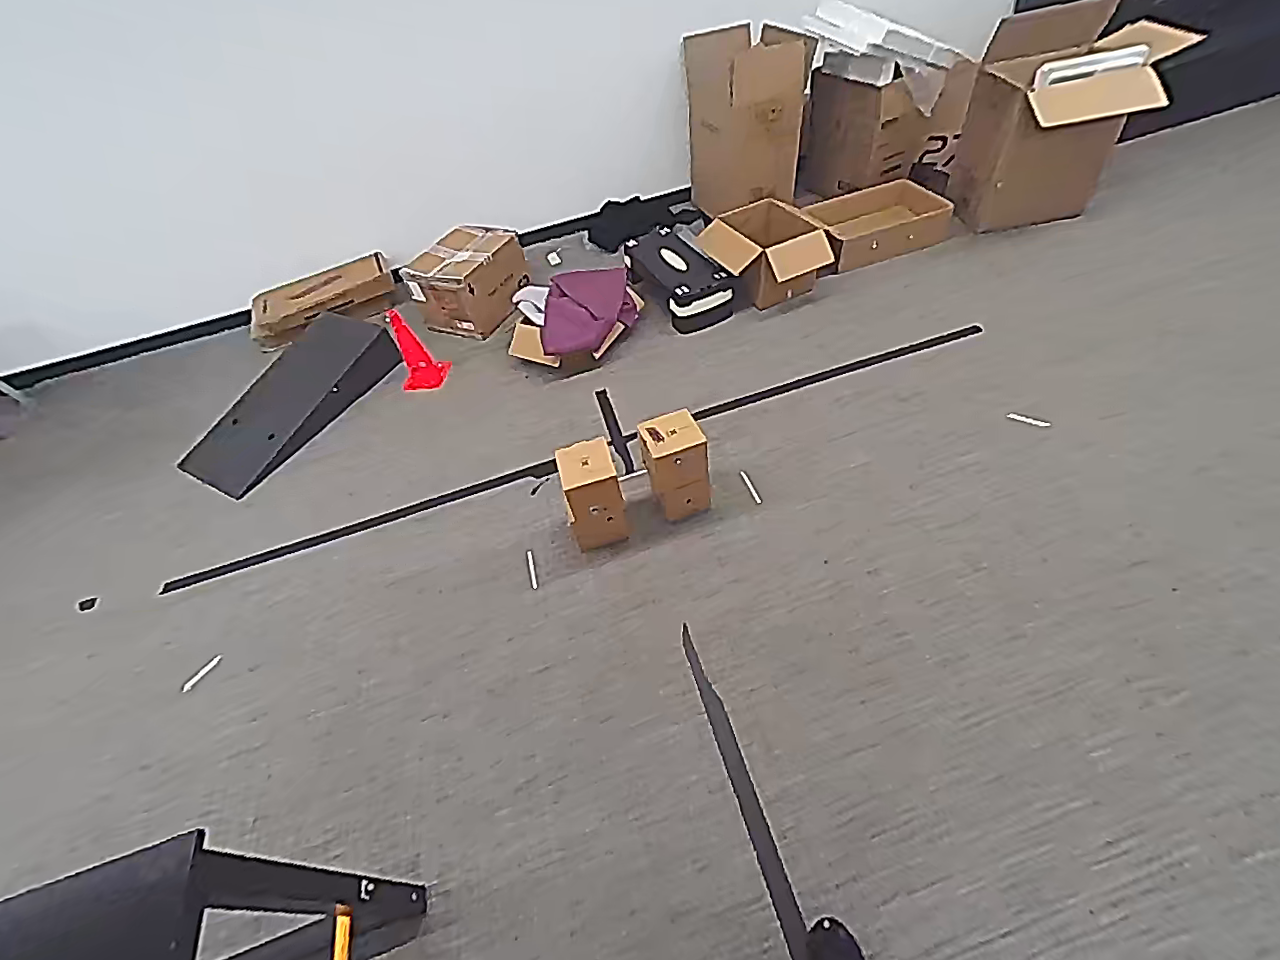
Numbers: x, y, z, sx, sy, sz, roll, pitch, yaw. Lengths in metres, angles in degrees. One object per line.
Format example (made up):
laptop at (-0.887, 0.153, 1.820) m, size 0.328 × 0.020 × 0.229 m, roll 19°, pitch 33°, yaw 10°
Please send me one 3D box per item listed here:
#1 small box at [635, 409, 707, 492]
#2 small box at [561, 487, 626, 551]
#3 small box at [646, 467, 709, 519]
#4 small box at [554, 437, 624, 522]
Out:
small box at (0.102, -0.089, 1.713) m, size 0.179 × 0.176 × 0.168 m, roll -19°, pitch 49°, yaw -7°
small box at (-0.151, 0.109, 1.806) m, size 0.179 × 0.176 × 0.168 m, roll -17°, pitch 49°, yaw -4°
small box at (0.129, 0.013, 1.840) m, size 0.168 × 0.176 × 0.179 m, roll -20°, pitch 50°, yaw -7°
small box at (-0.157, 0.002, 1.683) m, size 0.168 × 0.176 × 0.179 m, roll -17°, pitch 50°, yaw -3°
